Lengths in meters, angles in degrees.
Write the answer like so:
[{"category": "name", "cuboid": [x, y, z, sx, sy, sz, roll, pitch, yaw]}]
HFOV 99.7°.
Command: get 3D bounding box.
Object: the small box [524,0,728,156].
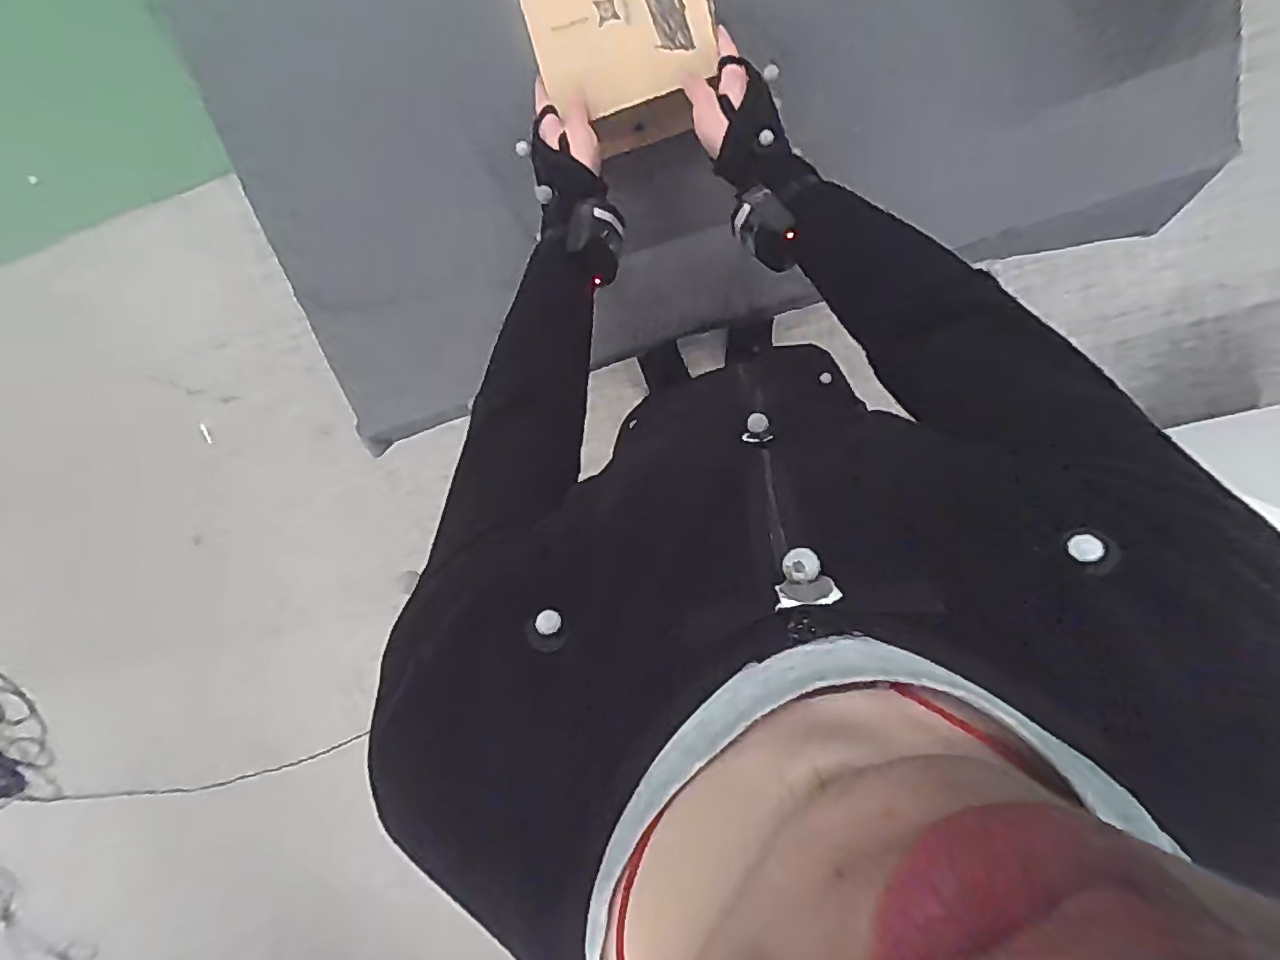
[{"category": "small box", "cuboid": [-0.015, -0.472, 0.574, 0.179, 0.176, 0.168, -13, 108, 8]}]
